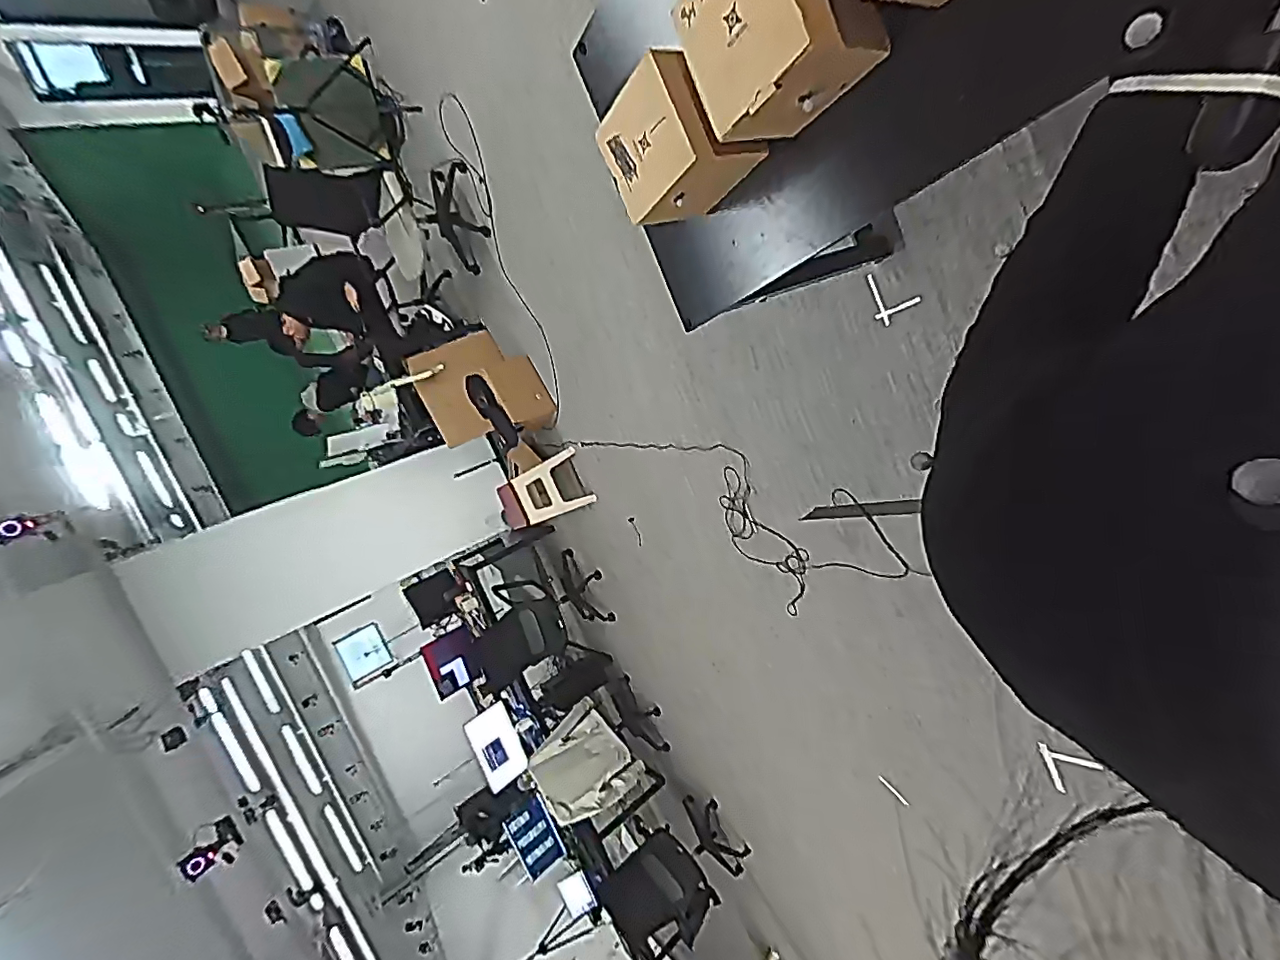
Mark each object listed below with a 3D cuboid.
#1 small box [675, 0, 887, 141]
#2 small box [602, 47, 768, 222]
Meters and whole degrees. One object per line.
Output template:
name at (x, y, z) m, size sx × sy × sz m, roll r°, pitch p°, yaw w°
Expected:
small box at (0.181, -0.575, 0.691) m, size 0.168 × 0.176 × 0.179 m, roll -12°, pitch 102°, yaw 59°
small box at (0.072, -0.548, 0.874) m, size 0.179 × 0.176 × 0.168 m, roll -18°, pitch 97°, yaw 58°
